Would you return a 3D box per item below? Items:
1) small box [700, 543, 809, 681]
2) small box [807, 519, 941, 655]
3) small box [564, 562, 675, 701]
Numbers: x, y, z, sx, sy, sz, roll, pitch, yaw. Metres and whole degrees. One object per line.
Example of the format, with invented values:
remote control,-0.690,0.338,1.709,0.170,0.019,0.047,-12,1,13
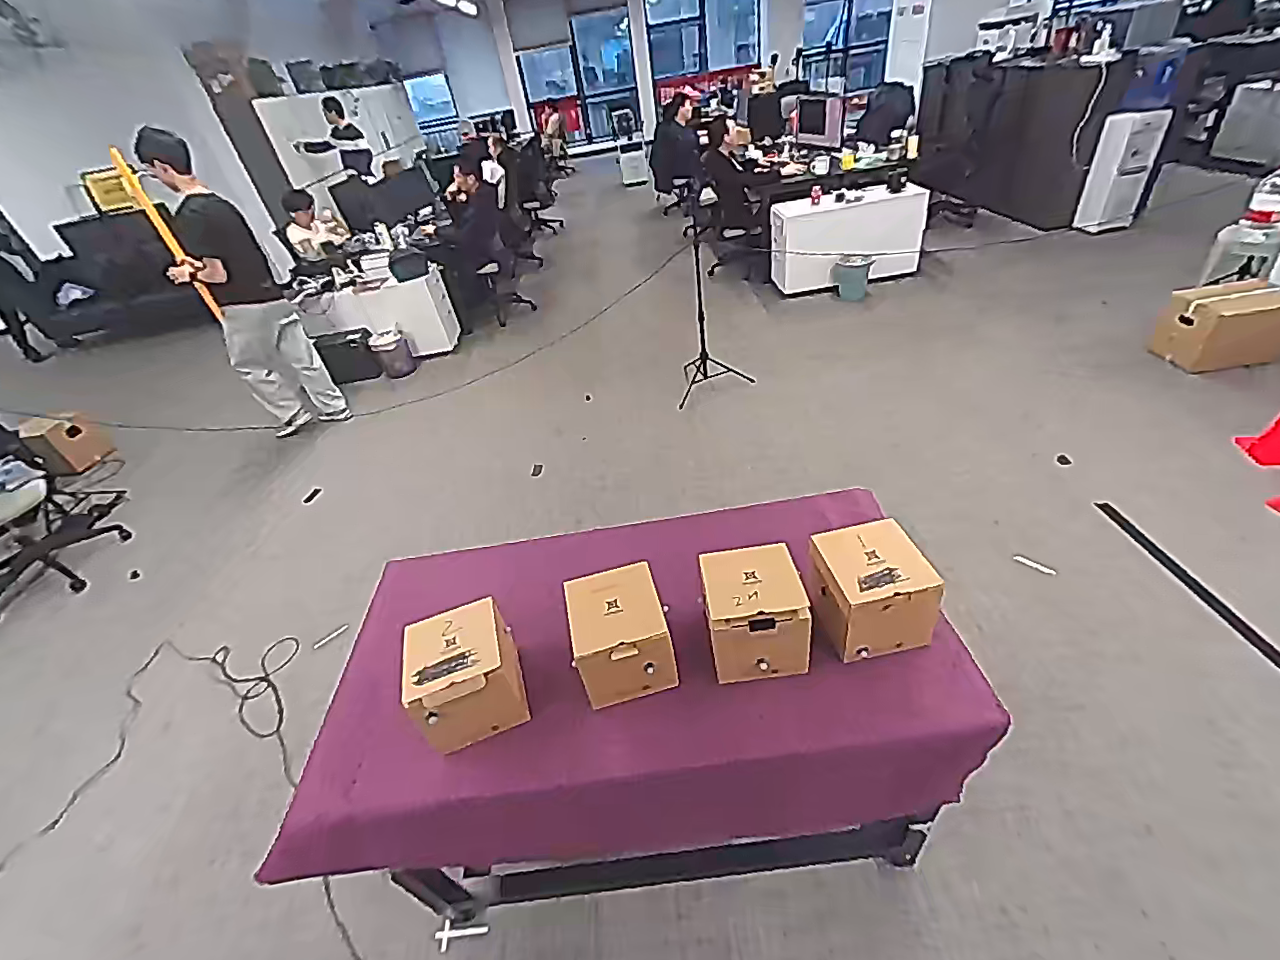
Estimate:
small box,0.206,0.245,1.005,0.168,0.176,0.179,-8,38,4
small box,0.422,0.204,1.007,0.168,0.176,0.179,-12,37,-1
small box,-0.037,0.288,1.012,0.168,0.176,0.179,-14,37,-5
